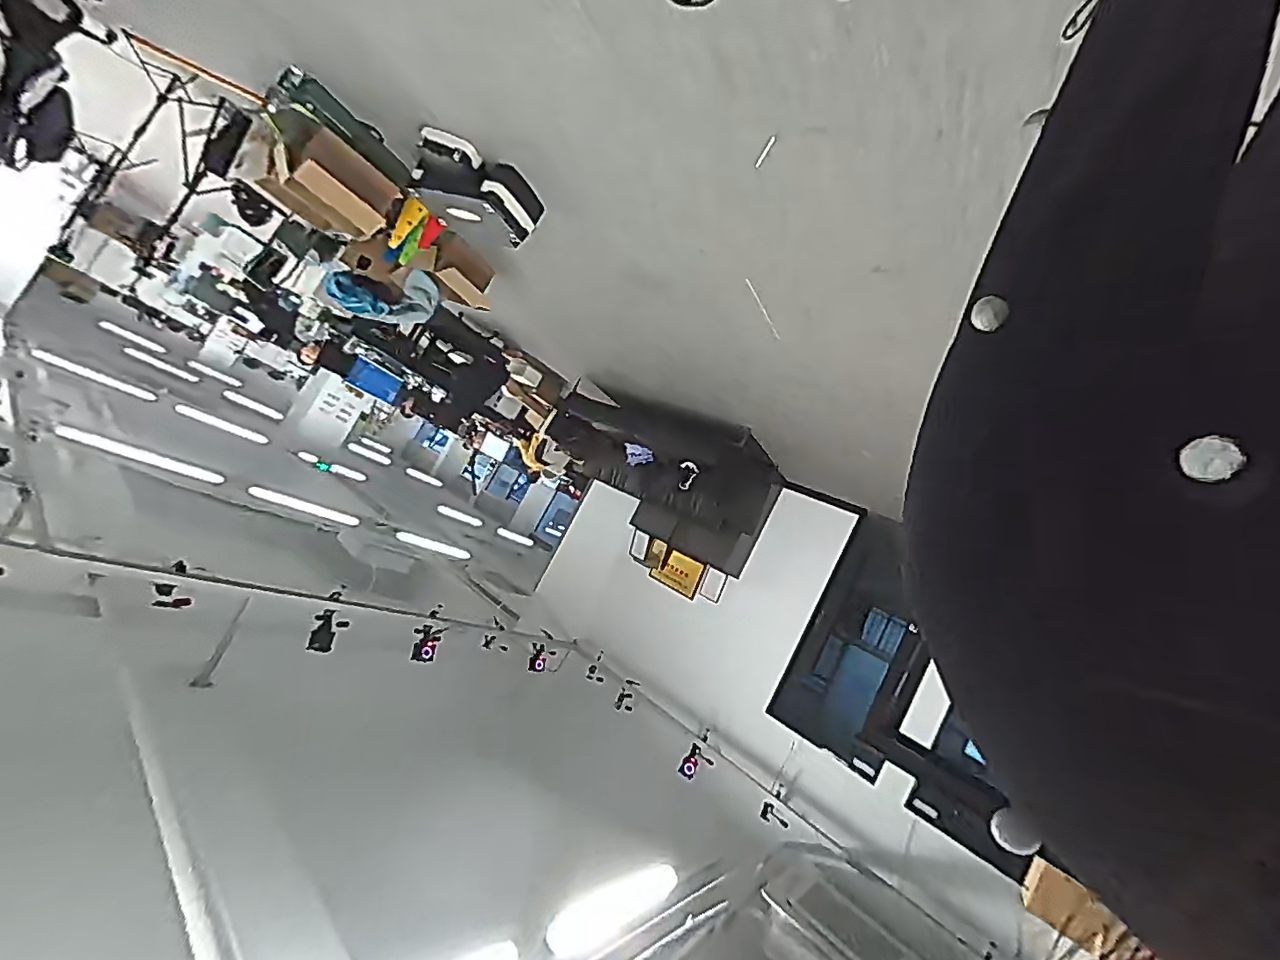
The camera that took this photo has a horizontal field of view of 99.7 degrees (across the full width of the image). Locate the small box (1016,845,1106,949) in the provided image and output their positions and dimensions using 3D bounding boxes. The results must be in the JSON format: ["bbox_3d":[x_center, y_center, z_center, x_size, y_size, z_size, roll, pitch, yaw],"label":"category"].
[{"bbox_3d":[1.285,1.263,1.655,0.168,0.176,0.179,25,175,35],"label":"small box"}]
